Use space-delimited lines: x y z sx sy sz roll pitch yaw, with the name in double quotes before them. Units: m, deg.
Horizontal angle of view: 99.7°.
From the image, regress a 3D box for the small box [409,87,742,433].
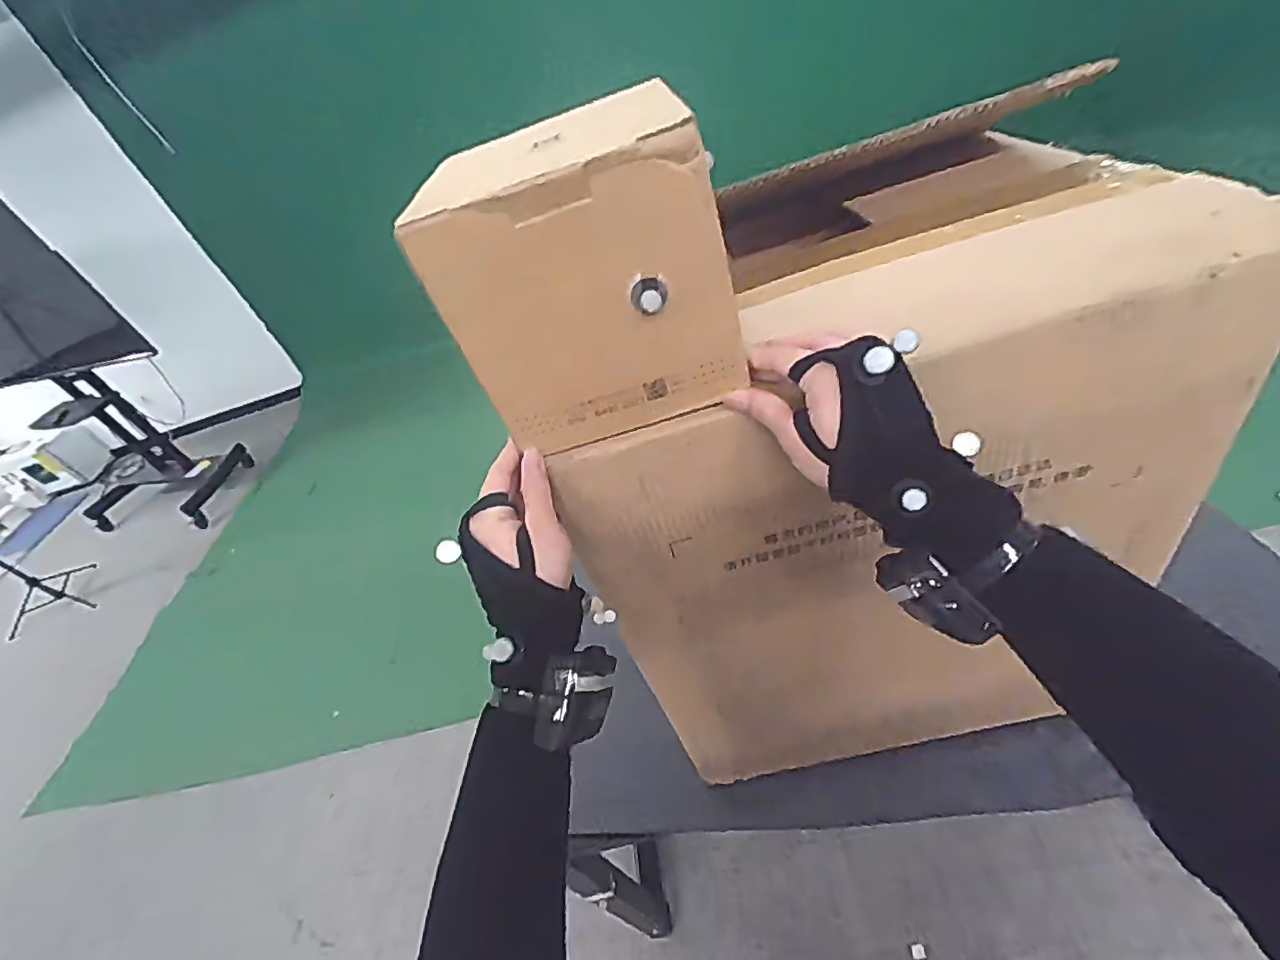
"small box" -0.032 -0.152 0.395 0.168 0.176 0.179 -15 40 7
